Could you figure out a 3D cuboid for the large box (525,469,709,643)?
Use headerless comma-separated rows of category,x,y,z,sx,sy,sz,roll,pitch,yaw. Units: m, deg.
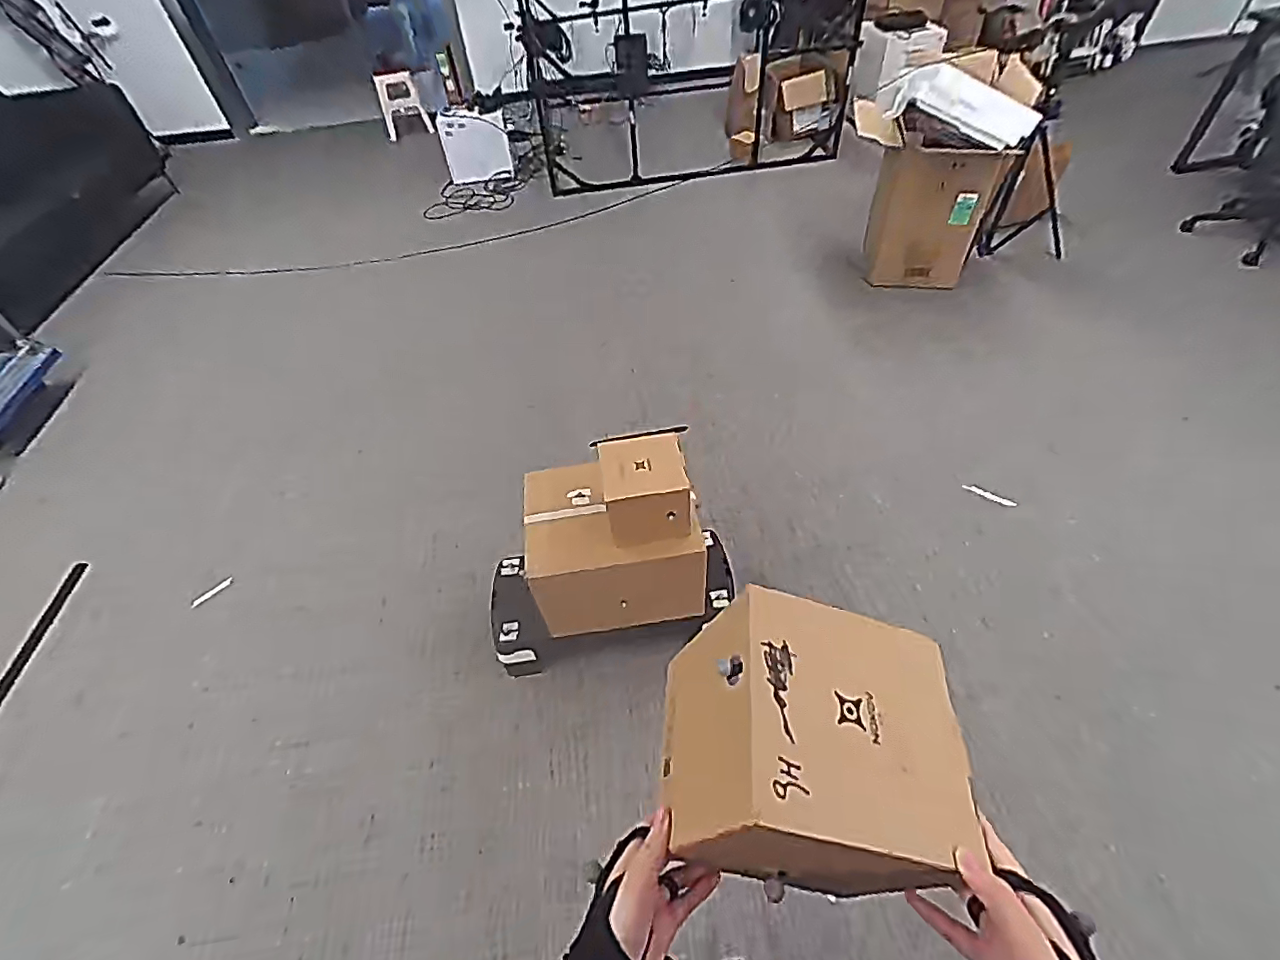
large box,-0.056,0.180,1.376,0.408,0.320,0.320,-10,48,-2

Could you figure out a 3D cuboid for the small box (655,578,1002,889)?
small box,0.130,0.210,0.435,0.179,0.176,0.168,20,45,-10

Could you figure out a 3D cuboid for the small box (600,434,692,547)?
small box,0.013,0.026,1.177,0.179,0.176,0.168,-9,49,-1

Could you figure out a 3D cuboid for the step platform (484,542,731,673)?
step platform,-0.089,0.358,1.541,0.684,0.204,0.286,-5,49,2
